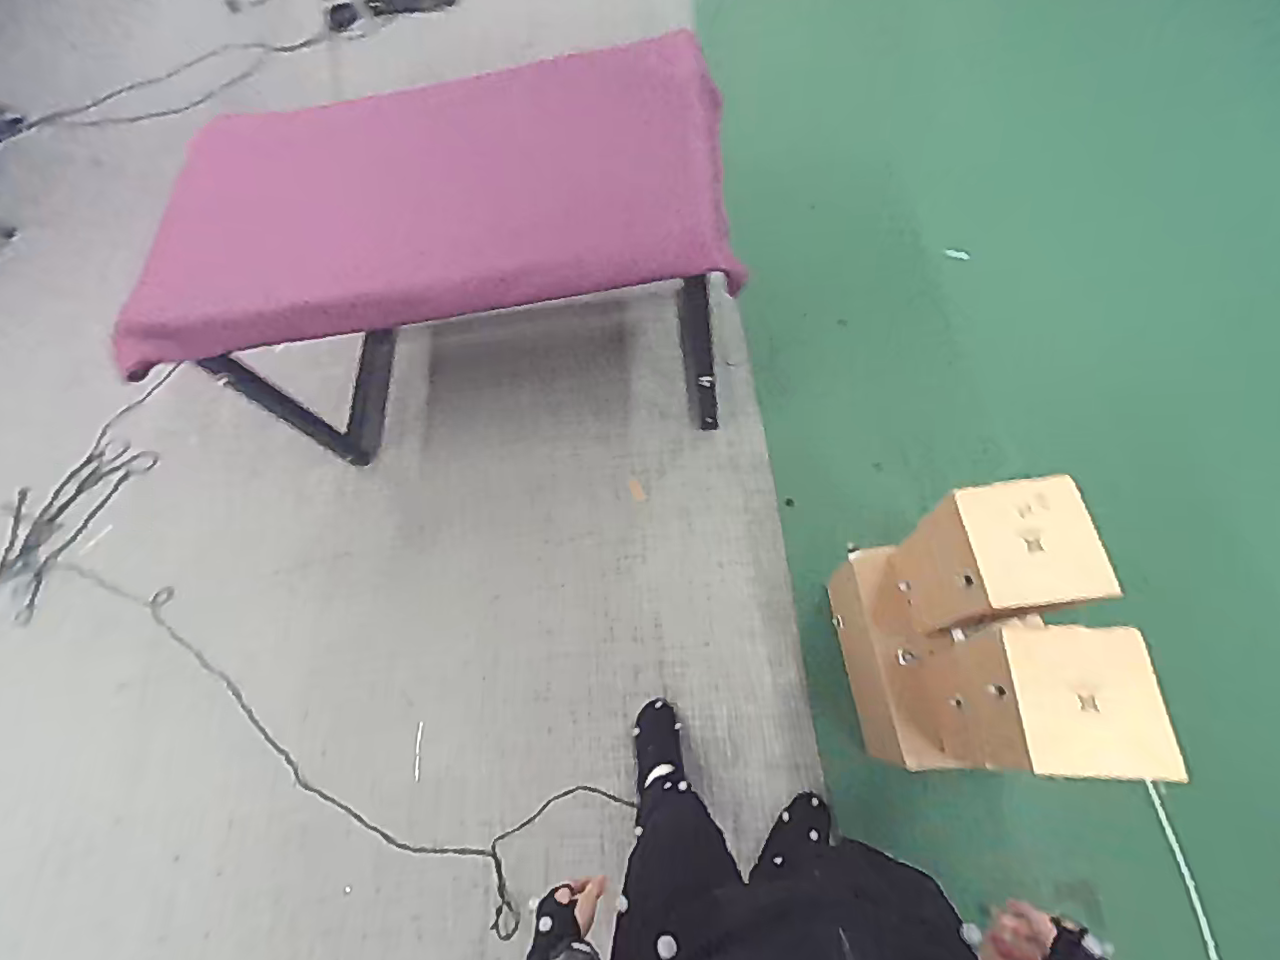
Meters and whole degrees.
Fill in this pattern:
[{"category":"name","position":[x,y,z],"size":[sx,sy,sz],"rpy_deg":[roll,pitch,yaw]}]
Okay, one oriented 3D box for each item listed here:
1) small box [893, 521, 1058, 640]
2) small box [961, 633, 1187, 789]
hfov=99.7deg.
[{"category":"small box","position":[0.588,0.187,0.975],"size":[0.179,0.176,0.168],"rpy_deg":[-11,65,6]},{"category":"small box","position":[0.571,0.312,0.743],"size":[0.168,0.176,0.179],"rpy_deg":[-3,65,10]}]
